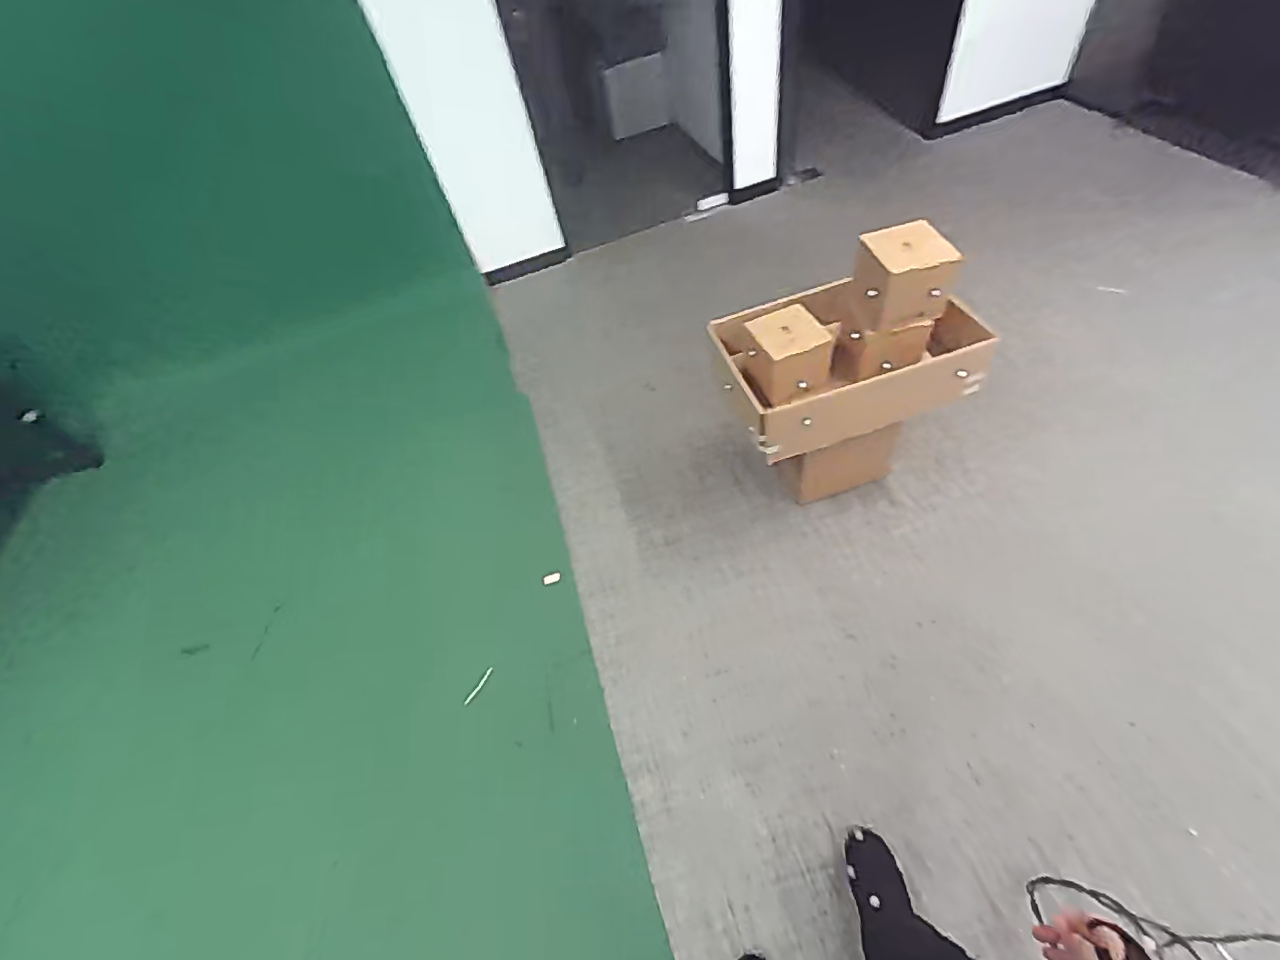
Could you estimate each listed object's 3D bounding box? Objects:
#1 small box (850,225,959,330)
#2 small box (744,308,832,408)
[{"bbox_3d":[0.634,-0.486,1.321,0.168,0.176,0.179,-13,52,0],"label":"small box"},{"bbox_3d":[0.387,-0.325,1.452,0.168,0.176,0.179,-21,52,-5],"label":"small box"}]
